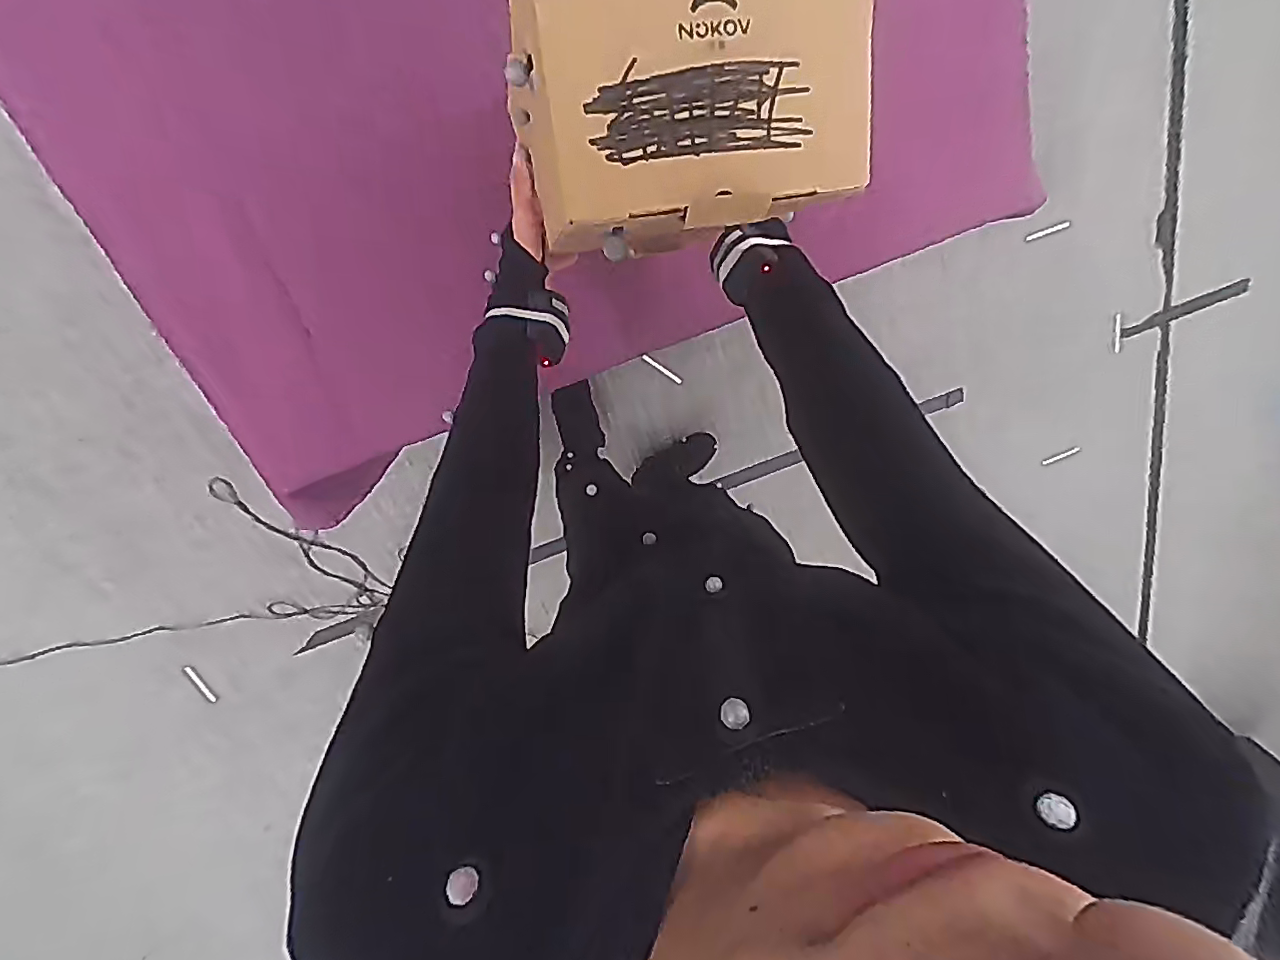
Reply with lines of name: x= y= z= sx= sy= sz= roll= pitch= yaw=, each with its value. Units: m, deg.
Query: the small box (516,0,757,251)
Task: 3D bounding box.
small box: x=-0.011 y=-0.308 z=0.472 sx=0.168 sy=0.176 sz=0.179 roll=-12 pitch=112 yaw=-8
